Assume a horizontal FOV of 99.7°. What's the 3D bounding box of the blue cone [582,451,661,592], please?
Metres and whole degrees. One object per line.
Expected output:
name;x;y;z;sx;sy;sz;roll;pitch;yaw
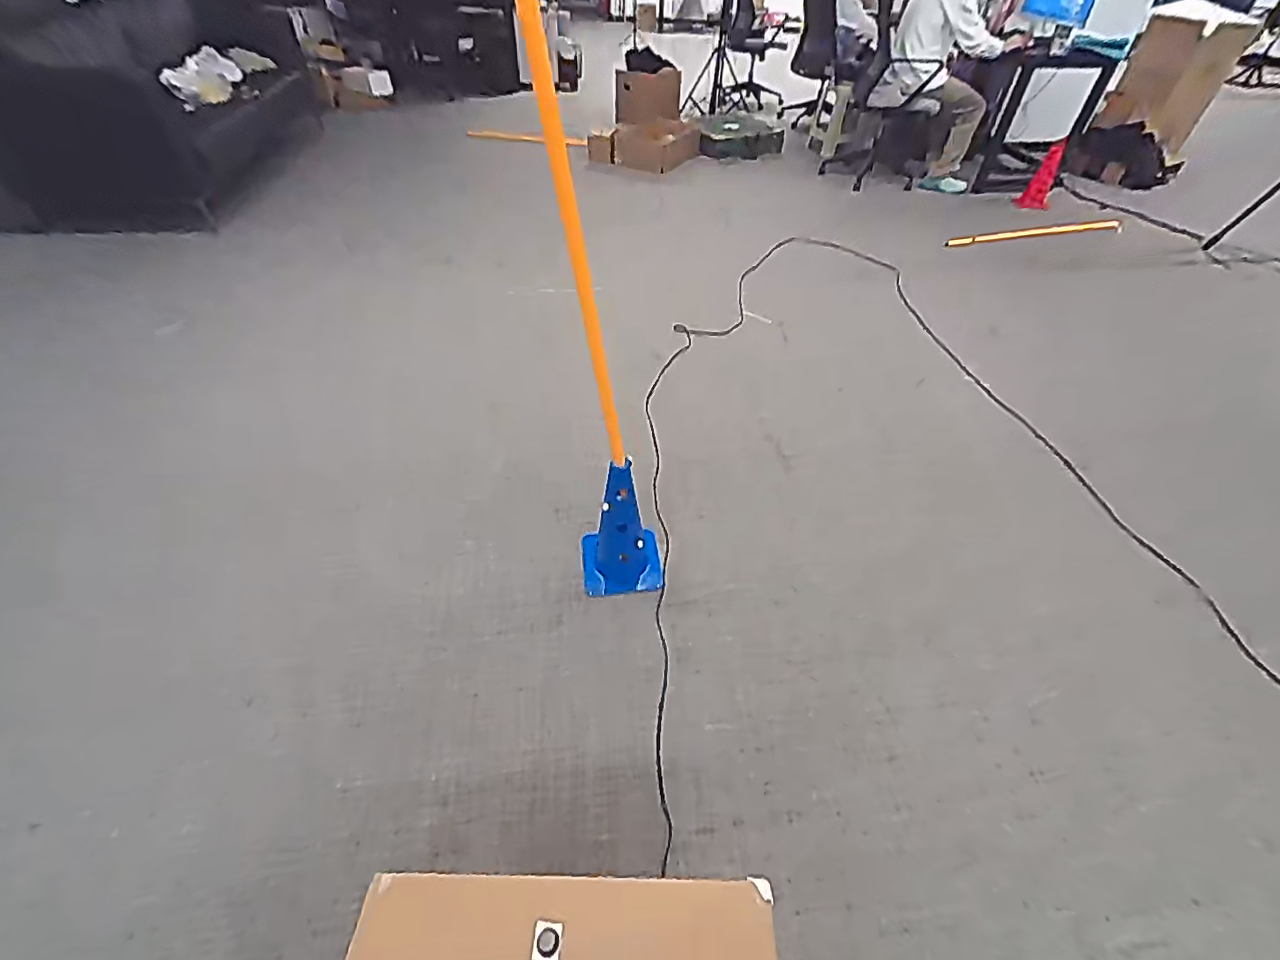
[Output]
blue cone;-0.048;0.088;1.285;0.193;0.380;0.192;-7;45;-7
